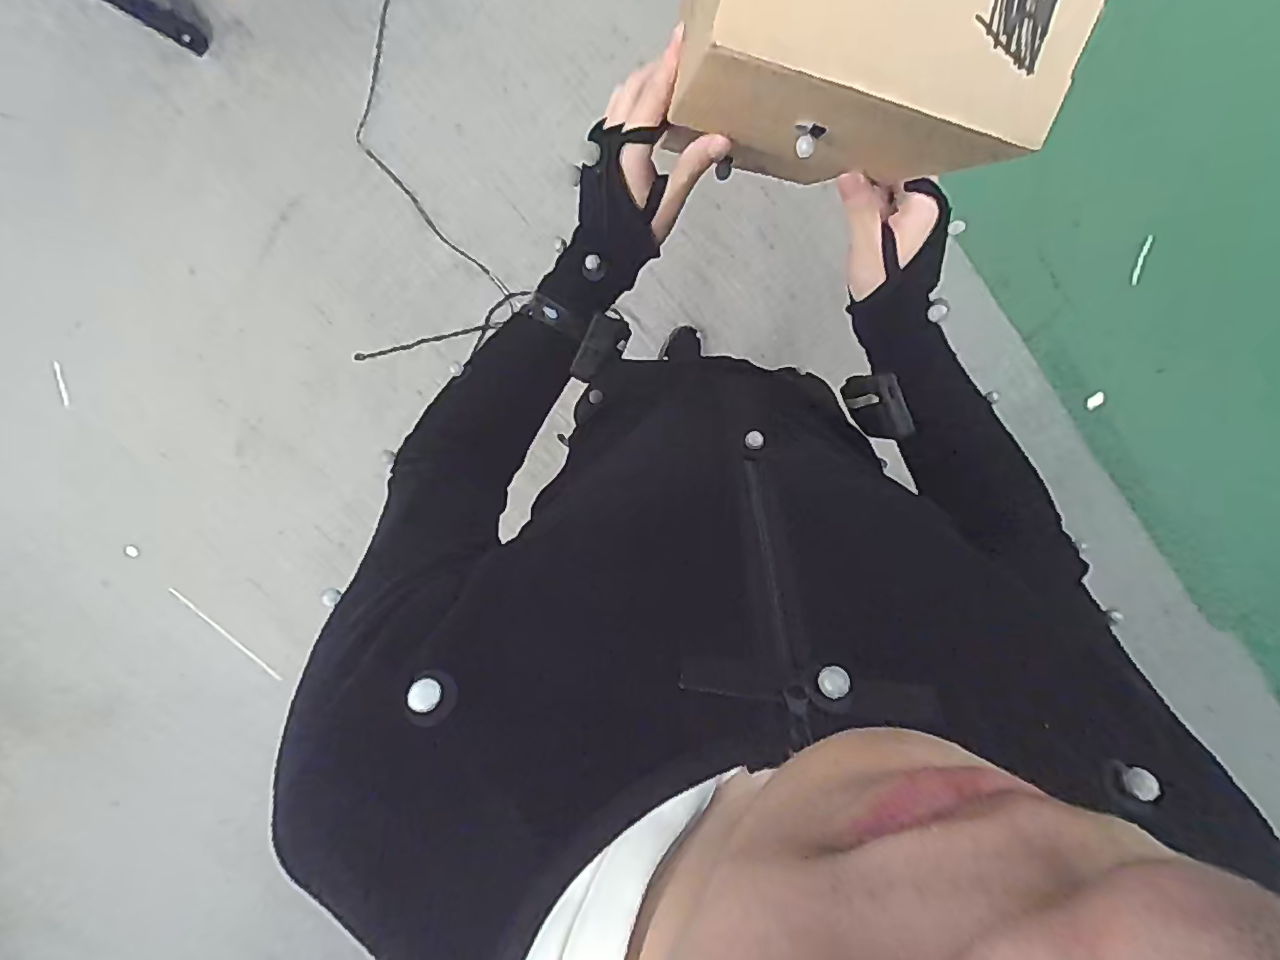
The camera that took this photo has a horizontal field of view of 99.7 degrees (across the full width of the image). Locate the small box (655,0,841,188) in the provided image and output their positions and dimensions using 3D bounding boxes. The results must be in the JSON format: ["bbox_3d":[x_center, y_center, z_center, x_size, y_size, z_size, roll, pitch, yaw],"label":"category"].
[{"bbox_3d":[0.111,-0.360,0.445,0.168,0.176,0.179,8,112,-8],"label":"small box"}]

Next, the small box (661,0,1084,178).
[{"bbox_3d":[0.119,-0.283,0.300,0.179,0.176,0.168,11,111,-8],"label":"small box"}]
